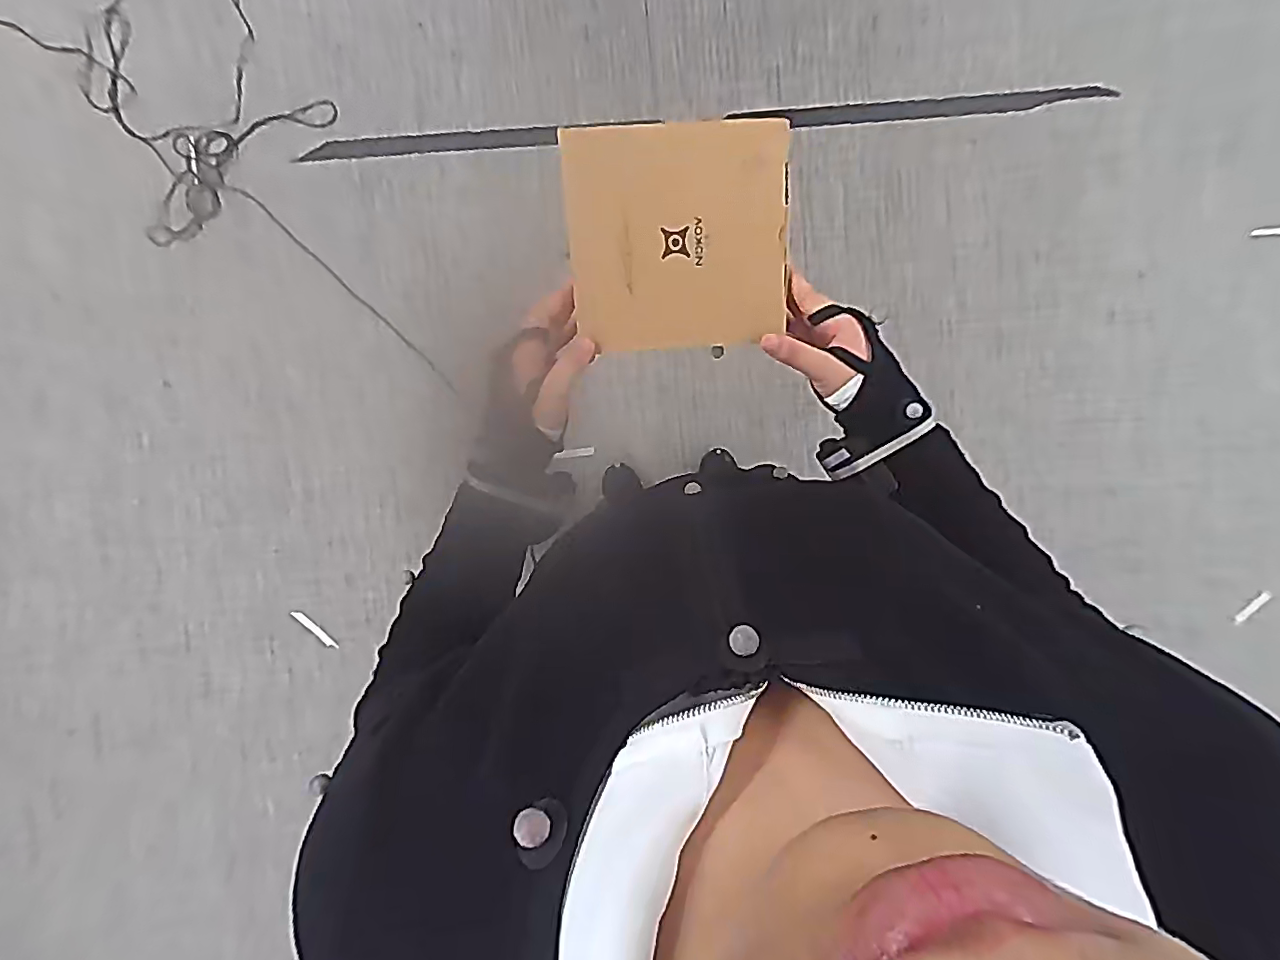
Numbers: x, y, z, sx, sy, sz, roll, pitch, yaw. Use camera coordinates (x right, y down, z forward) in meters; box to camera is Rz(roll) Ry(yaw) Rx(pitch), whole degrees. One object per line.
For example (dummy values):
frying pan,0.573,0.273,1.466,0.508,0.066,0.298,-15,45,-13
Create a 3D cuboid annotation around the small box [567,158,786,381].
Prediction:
small box,0.029,-0.192,0.521,0.179,0.176,0.168,-6,106,-2
